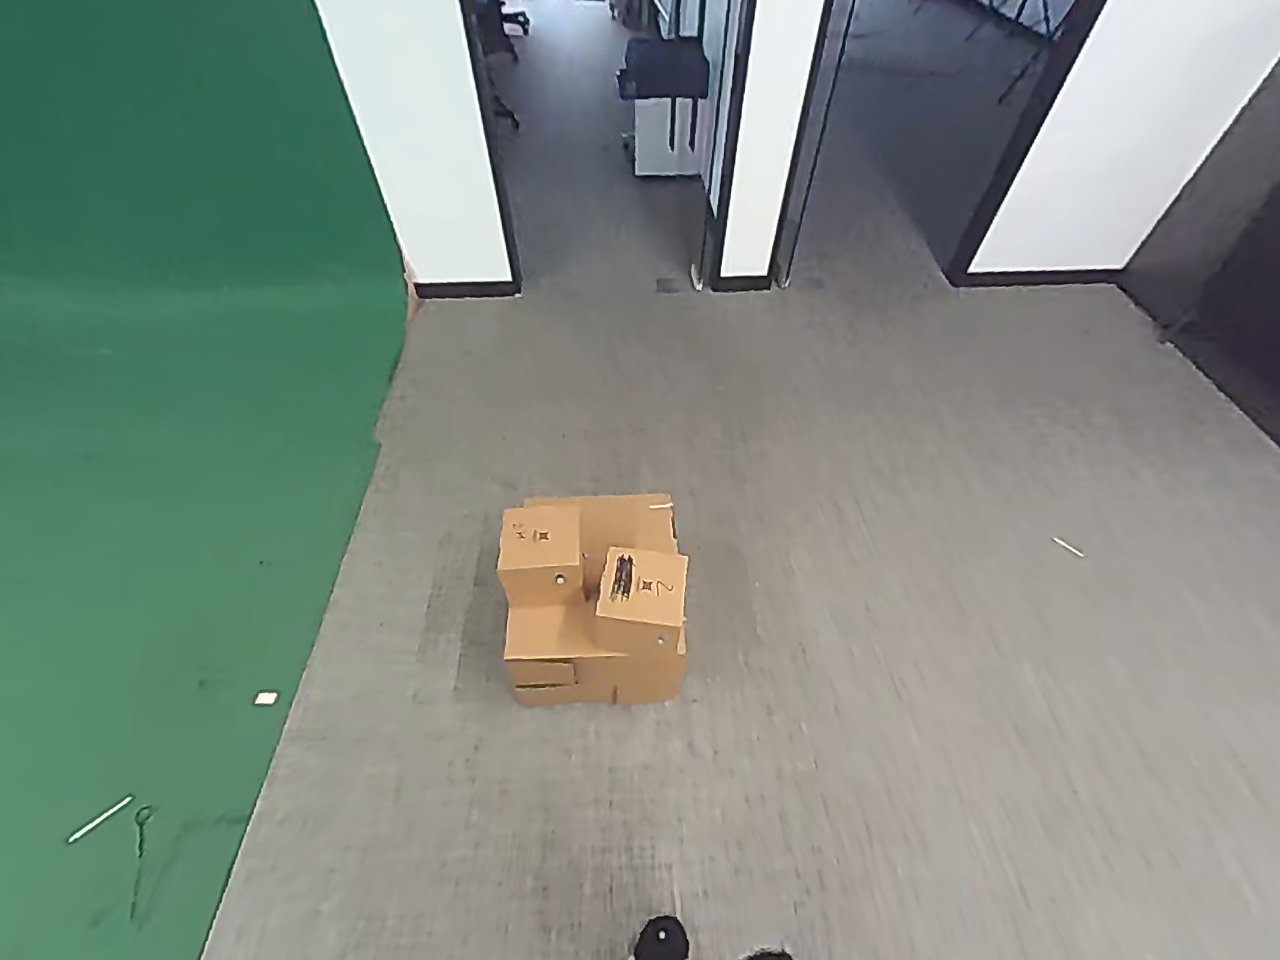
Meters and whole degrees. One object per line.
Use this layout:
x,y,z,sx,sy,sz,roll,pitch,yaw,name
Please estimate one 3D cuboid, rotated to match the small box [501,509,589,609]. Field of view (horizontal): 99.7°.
-0.210,0.183,1.247,0.179,0.176,0.168,-3,49,-2,small box
